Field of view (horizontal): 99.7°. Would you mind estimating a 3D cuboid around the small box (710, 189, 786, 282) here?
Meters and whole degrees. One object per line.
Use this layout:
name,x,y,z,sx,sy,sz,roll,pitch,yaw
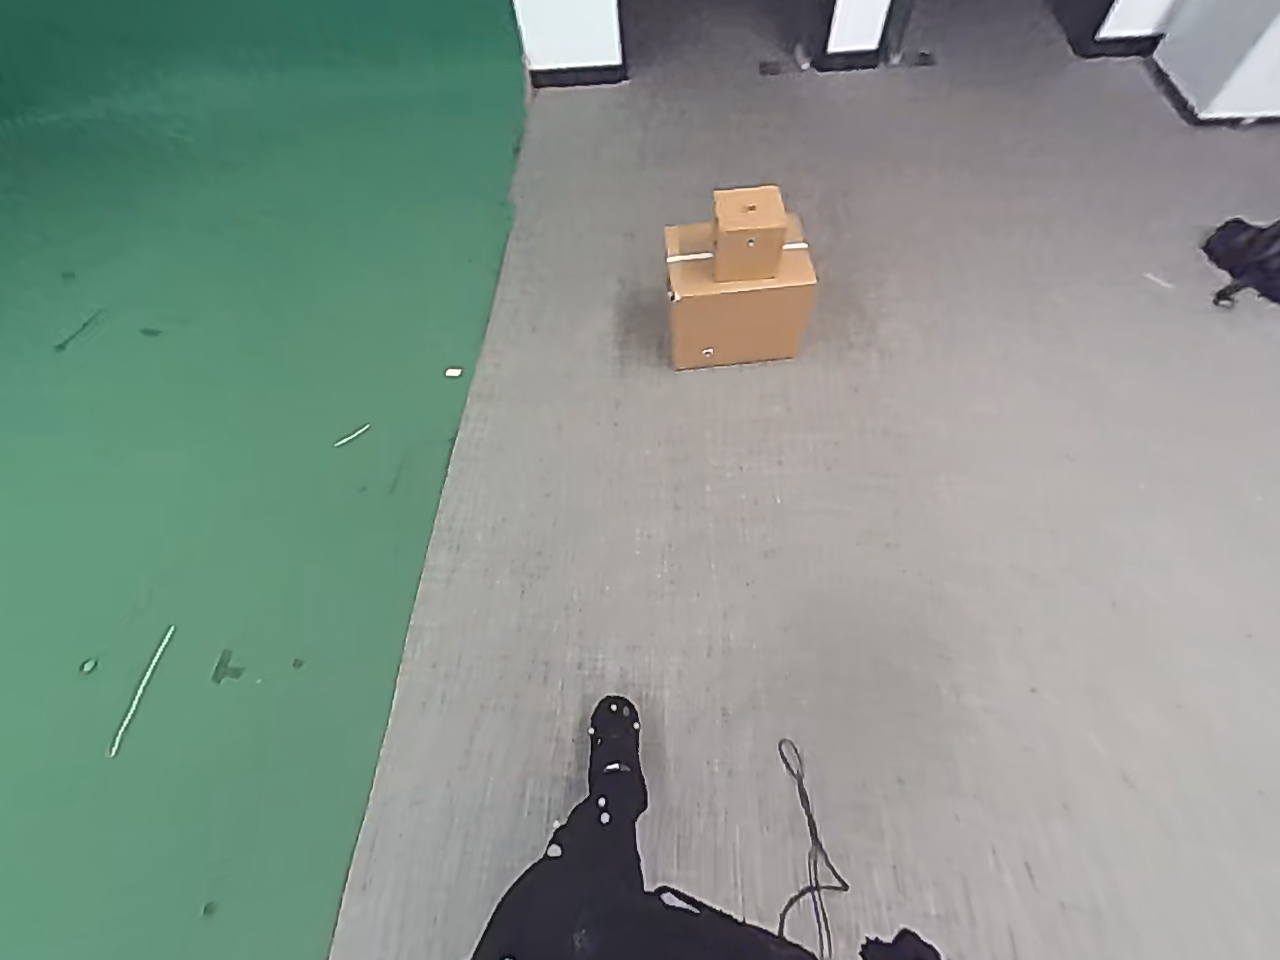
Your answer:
small box,0.286,-0.662,1.477,0.179,0.176,0.168,-3,62,1
